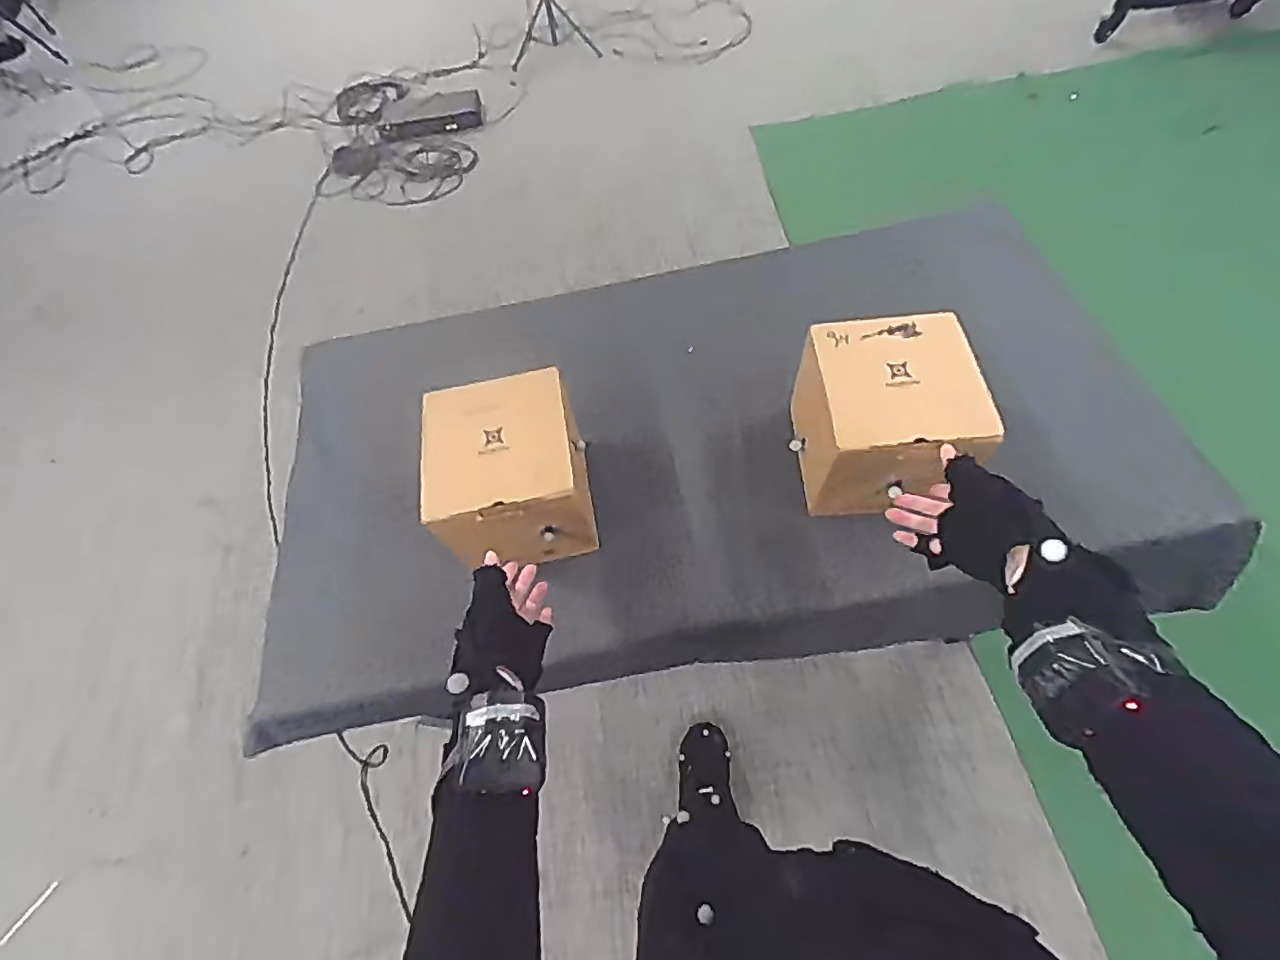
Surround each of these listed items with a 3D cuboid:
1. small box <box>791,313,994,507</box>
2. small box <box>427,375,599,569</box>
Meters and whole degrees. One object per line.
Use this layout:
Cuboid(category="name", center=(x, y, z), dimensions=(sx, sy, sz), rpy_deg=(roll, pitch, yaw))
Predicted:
Cuboid(category="small box", center=(0.288, -0.073, 0.663), dimensions=(0.168, 0.176, 0.179), rpy_deg=(-4, 63, 5))
Cuboid(category="small box", center=(-0.153, 0.001, 0.684), dimensions=(0.168, 0.176, 0.179), rpy_deg=(-13, 60, -1))
